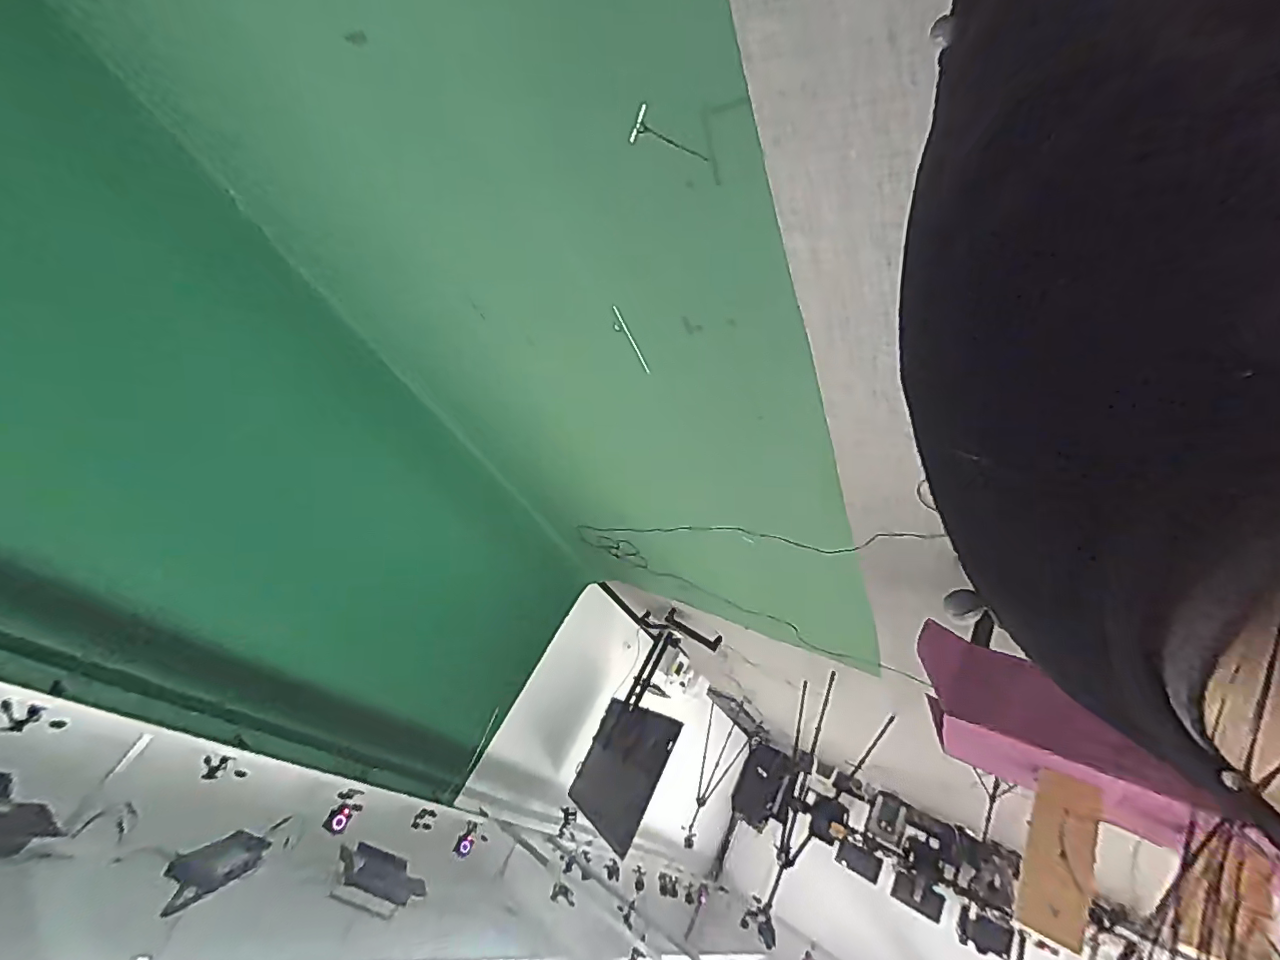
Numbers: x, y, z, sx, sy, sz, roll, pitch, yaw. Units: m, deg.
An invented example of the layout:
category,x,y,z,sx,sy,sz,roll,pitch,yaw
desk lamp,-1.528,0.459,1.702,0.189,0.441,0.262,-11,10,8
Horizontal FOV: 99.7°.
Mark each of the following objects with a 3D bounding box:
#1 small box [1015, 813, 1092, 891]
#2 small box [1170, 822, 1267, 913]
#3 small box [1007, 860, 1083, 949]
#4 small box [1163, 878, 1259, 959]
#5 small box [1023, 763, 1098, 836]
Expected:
category,x,y,z,sx,sy,sz,roll,pitch,yaw
small box,1.404,1.260,1.839,0.179,0.176,0.168,12,149,36
small box,1.793,1.202,1.679,0.179,0.176,0.168,13,150,38
small box,1.328,1.390,1.774,0.179,0.176,0.168,11,148,37
small box,1.710,1.333,1.621,0.168,0.176,0.179,12,150,37
small box,1.481,1.130,1.904,0.179,0.176,0.168,14,150,36
